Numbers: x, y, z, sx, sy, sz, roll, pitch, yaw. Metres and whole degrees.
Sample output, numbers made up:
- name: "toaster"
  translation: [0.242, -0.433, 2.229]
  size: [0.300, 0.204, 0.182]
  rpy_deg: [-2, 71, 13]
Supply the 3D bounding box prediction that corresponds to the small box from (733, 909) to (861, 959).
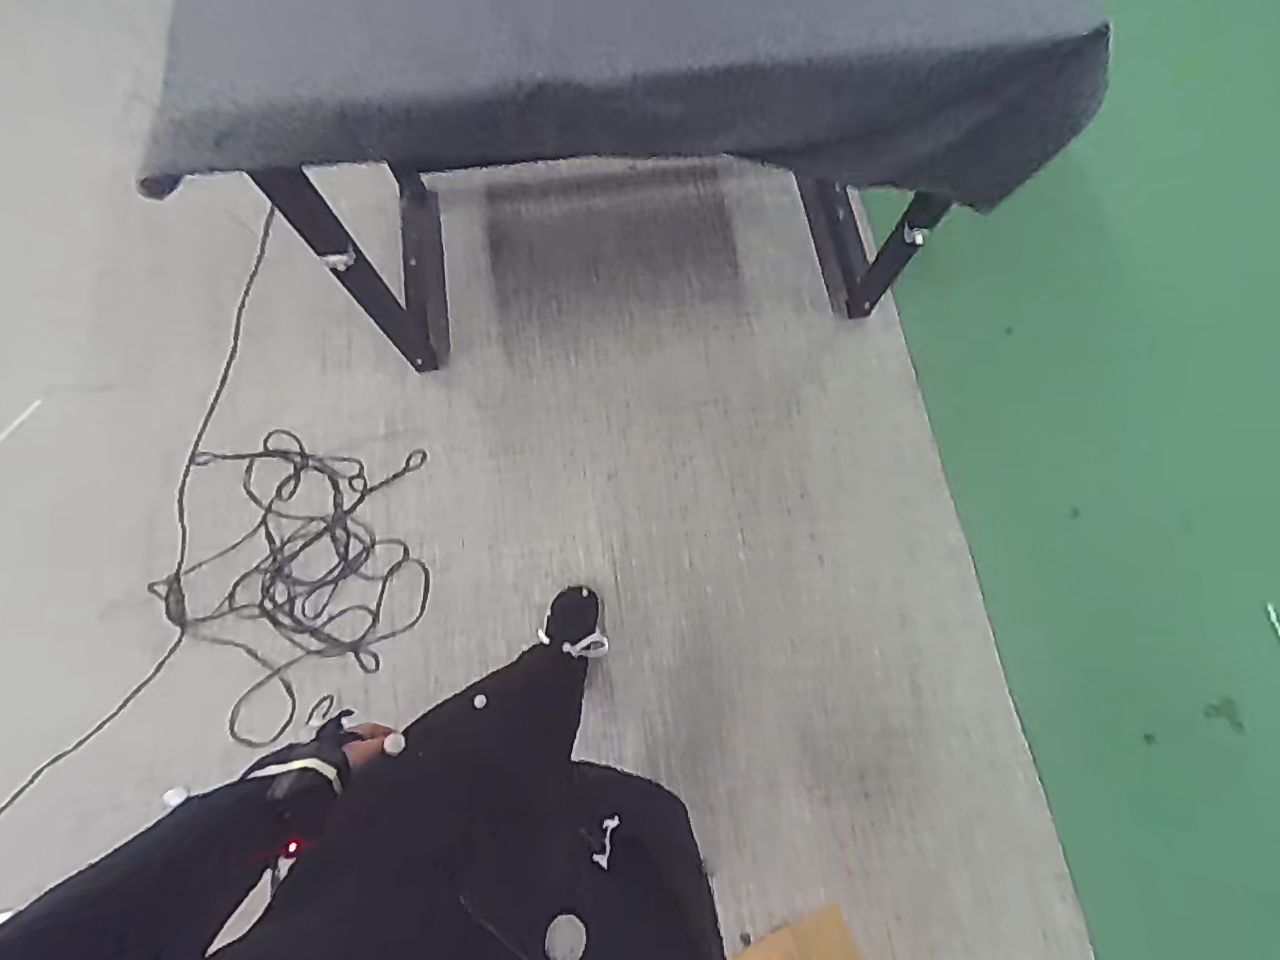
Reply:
- name: "small box"
  translation: [0.172, 0.618, 0.595]
  size: [0.176, 0.179, 0.168]
  rpy_deg: [-42, 46, 10]
